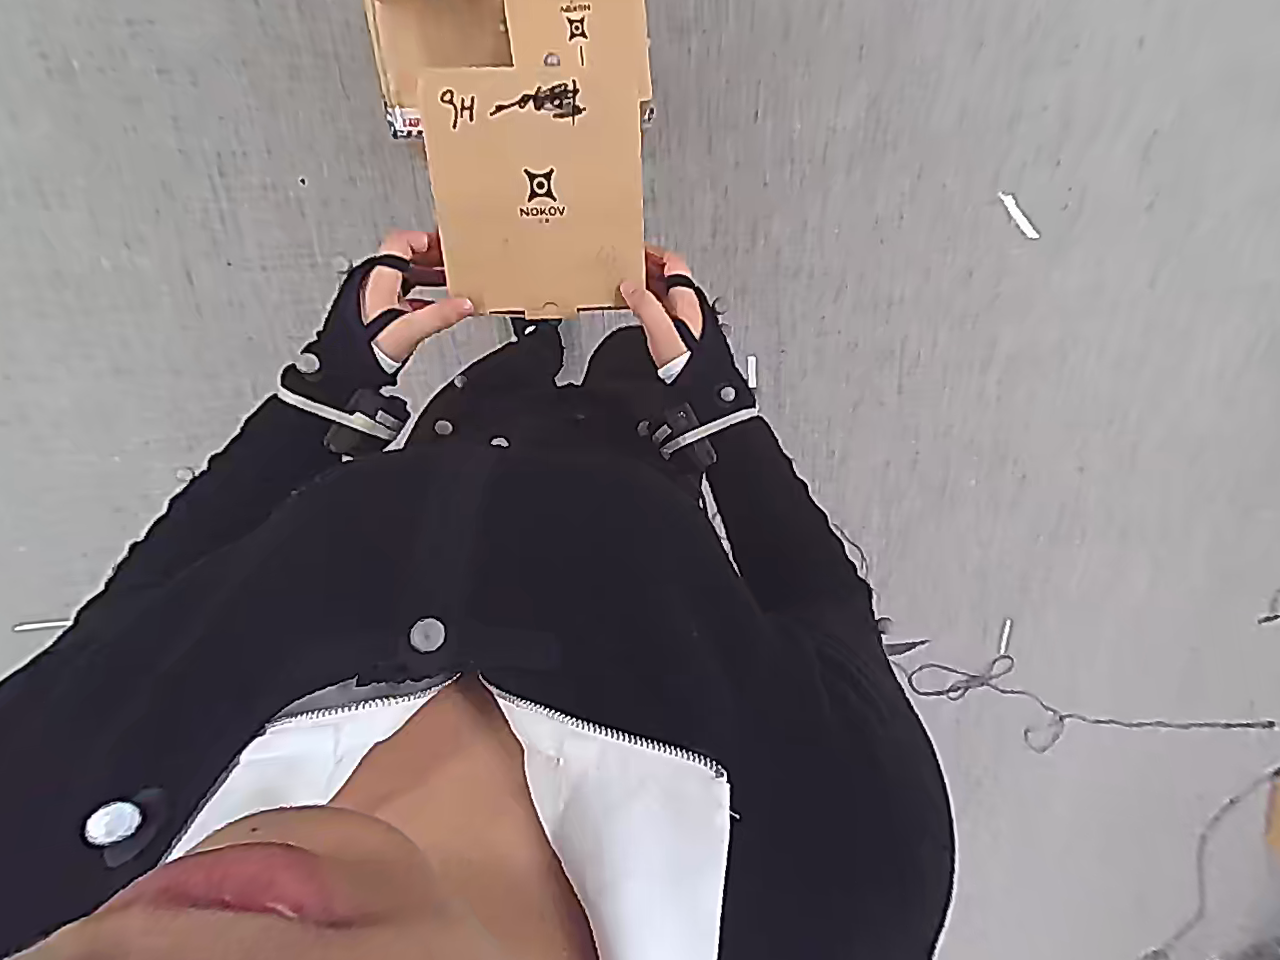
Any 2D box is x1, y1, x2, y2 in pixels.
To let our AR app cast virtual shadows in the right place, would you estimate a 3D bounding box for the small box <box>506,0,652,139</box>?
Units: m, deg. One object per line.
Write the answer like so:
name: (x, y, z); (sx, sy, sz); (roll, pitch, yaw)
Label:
small box: (-0.082, -0.568, 0.705); (0.168, 0.176, 0.179); (-7, 114, -3)
